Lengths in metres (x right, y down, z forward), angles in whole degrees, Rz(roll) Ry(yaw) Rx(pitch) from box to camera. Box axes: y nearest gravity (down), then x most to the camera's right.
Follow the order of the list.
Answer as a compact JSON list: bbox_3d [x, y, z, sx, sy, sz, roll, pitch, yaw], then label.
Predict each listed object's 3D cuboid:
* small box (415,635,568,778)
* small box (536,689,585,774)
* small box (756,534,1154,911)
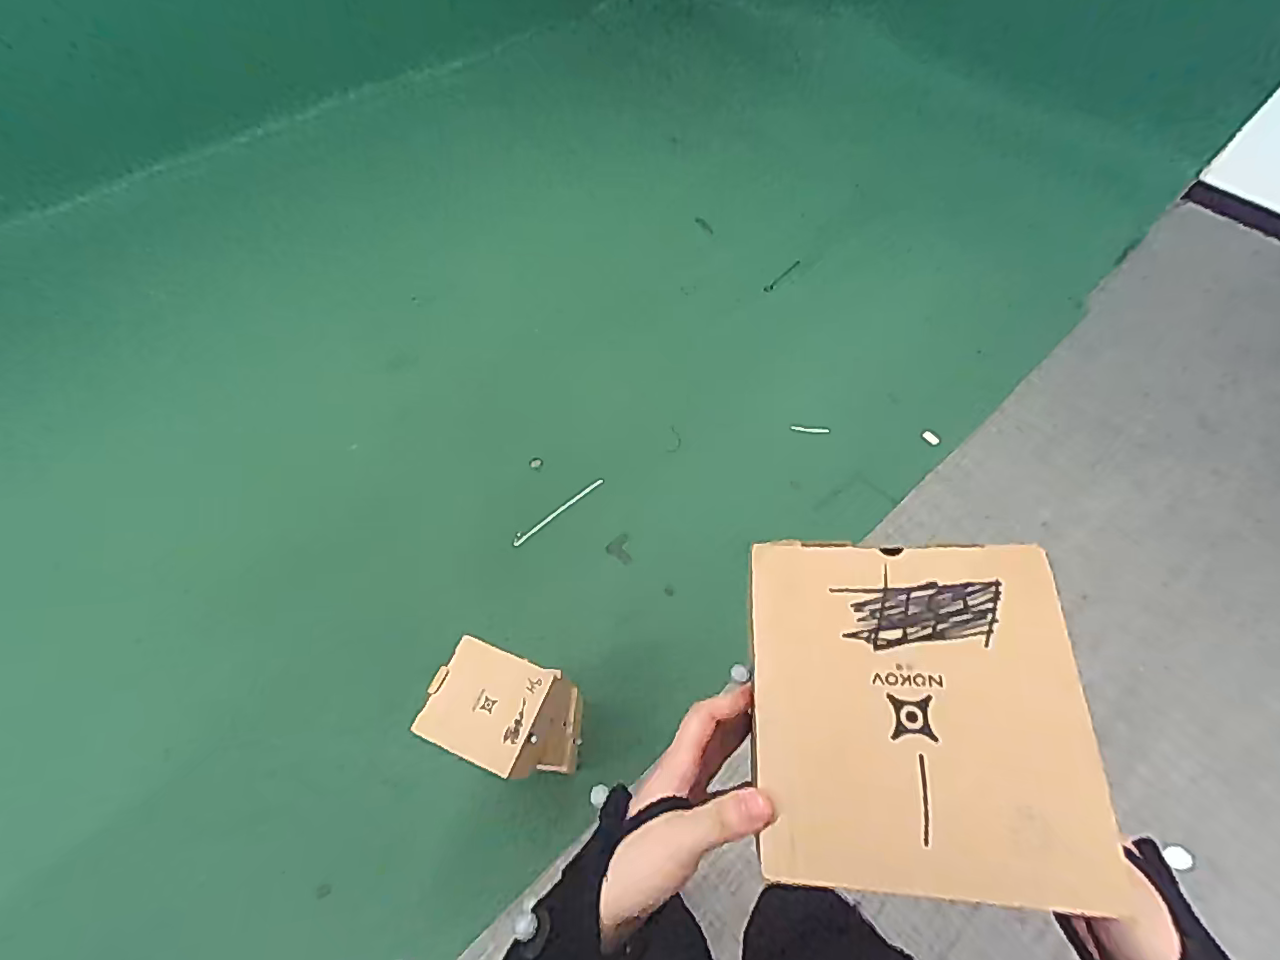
[{"bbox_3d":[-0.241,0.393,0.927,0.179,0.176,0.168,20,63,11],"label":"small box"},{"bbox_3d":[-0.220,0.559,1.211,0.179,0.176,0.168,3,61,2],"label":"small box"},{"bbox_3d":[0.164,0.145,0.357,0.168,0.176,0.179,-1,66,10],"label":"small box"}]
